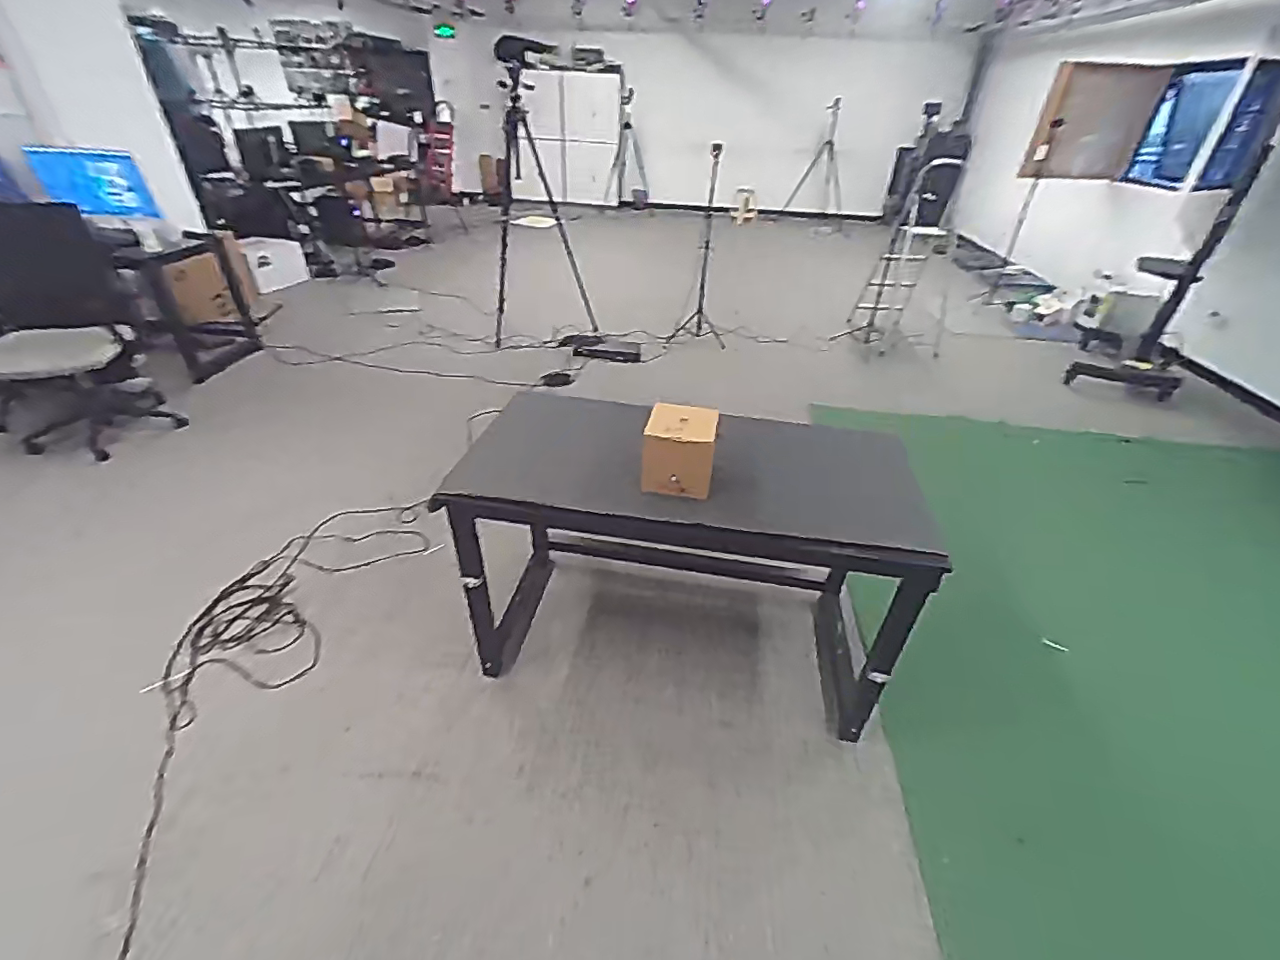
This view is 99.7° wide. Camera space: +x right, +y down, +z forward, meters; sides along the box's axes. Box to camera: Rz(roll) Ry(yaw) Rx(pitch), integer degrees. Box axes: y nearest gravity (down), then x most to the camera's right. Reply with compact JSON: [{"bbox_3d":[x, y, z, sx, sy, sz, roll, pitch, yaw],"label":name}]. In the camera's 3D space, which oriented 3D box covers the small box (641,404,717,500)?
[{"bbox_3d":[0.097,-0.073,1.371,0.168,0.176,0.179,8,34,8],"label":"small box"}]
